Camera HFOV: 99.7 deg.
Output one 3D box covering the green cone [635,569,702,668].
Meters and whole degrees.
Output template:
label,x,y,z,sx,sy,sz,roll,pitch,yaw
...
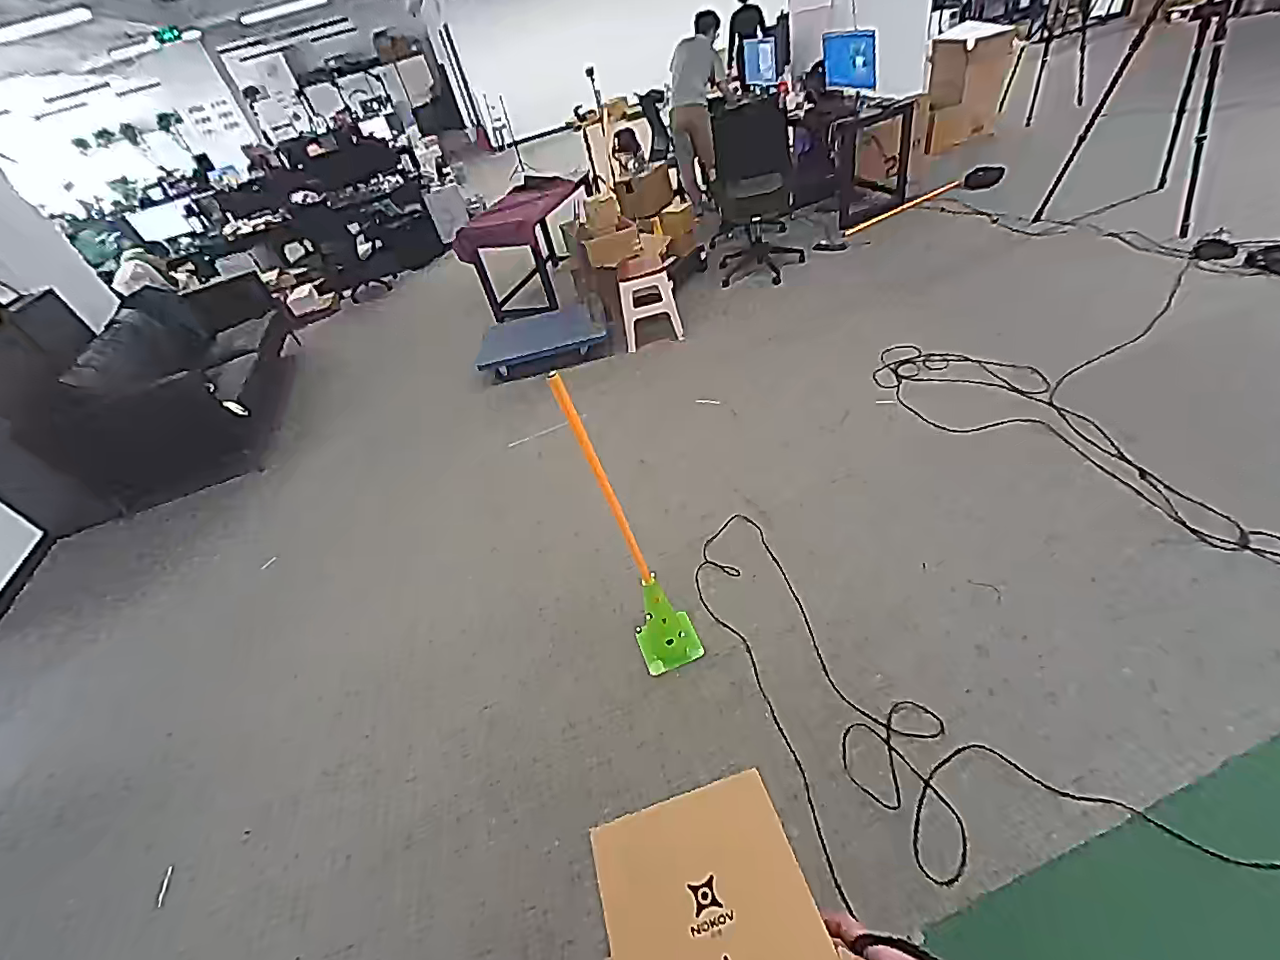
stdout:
label,x,y,z,sx,sy,sz,roll,pitch,yaw
green cone,0.065,0.427,1.789,0.202,0.368,0.200,-20,42,-6
